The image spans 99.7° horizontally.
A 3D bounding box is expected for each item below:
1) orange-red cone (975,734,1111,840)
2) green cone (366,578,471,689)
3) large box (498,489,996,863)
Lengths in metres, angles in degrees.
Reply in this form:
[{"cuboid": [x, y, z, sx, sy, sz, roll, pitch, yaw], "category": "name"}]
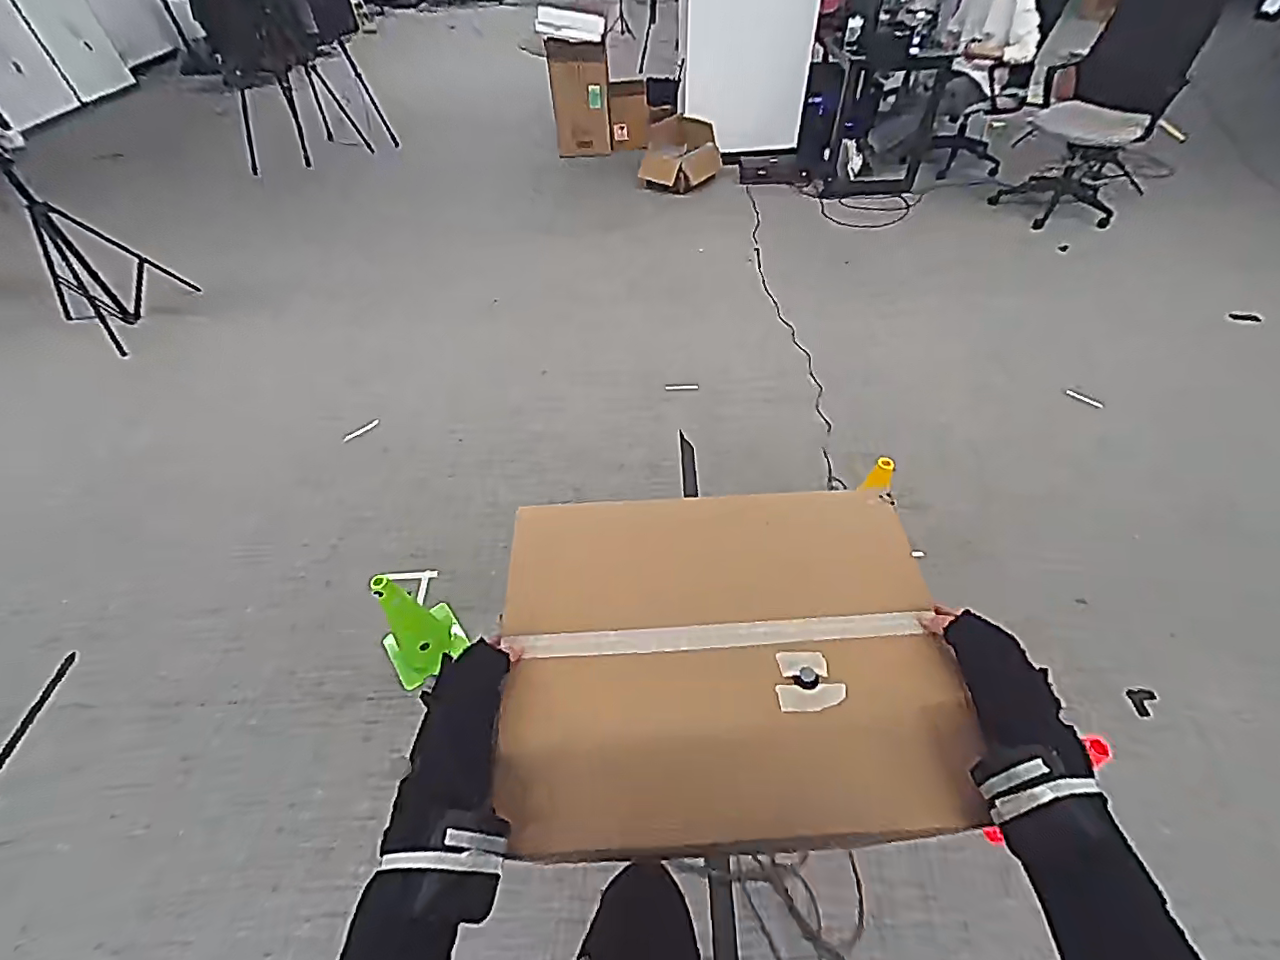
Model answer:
[{"cuboid": [0.864, 0.609, 1.139, 0.198, 0.360, 0.199, -3, 47, -1], "category": "orange-red cone"}, {"cuboid": [-0.624, 0.363, 1.436, 0.202, 0.368, 0.200, -33, 54, -22], "category": "green cone"}, {"cuboid": [0.077, 0.233, 0.627, 0.408, 0.320, 0.320, -3, 53, -2], "category": "large box"}]
